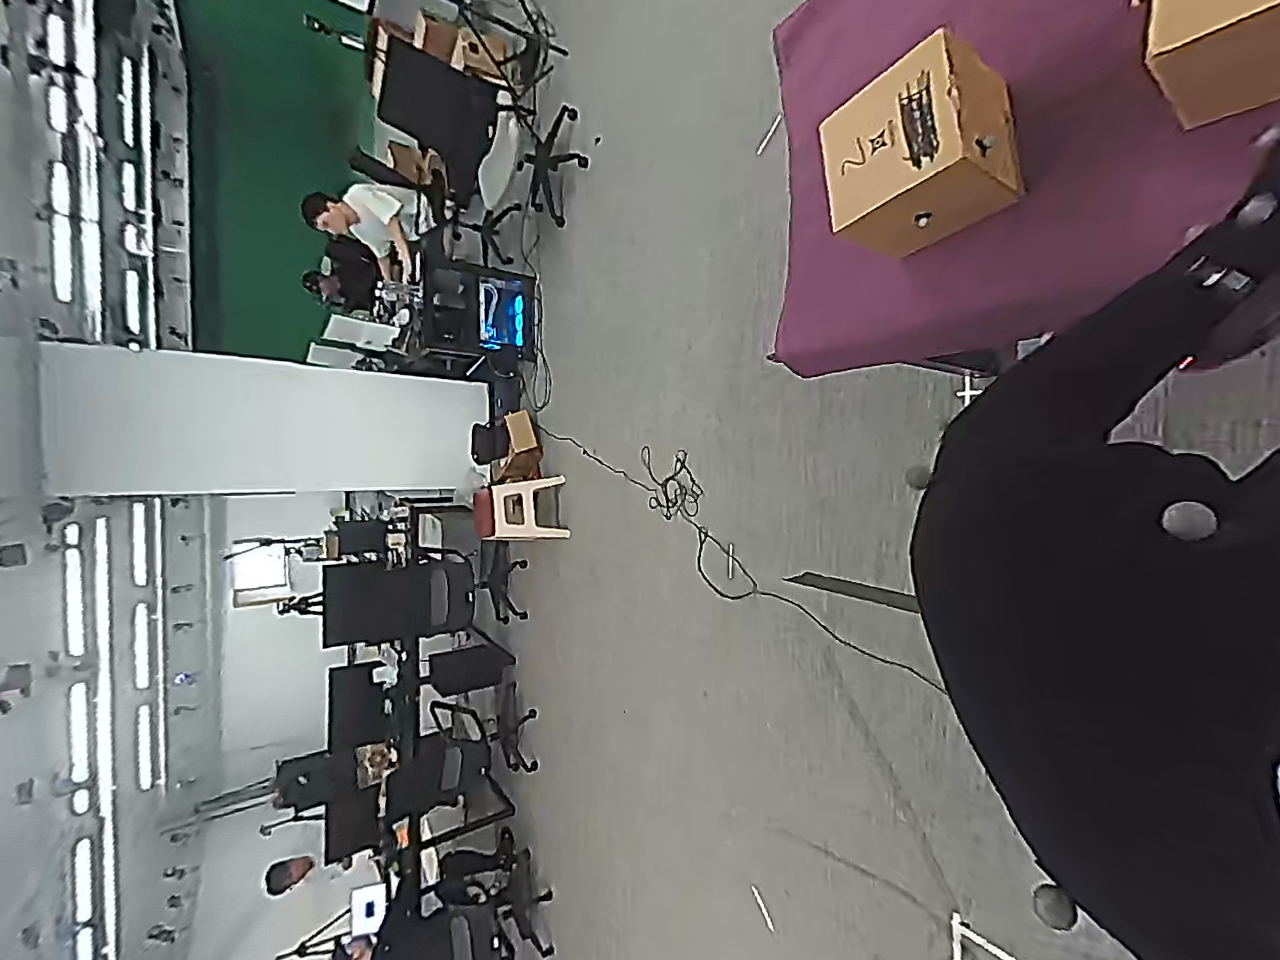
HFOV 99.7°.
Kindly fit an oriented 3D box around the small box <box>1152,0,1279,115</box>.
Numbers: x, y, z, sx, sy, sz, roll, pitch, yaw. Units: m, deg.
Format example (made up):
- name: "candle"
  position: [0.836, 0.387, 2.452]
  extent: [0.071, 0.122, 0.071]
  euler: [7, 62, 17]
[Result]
- name: "small box"
  position: [0.569, -0.450, 0.447]
  extent: [0.179, 0.176, 0.168]
  euler: [6, 95, 55]
